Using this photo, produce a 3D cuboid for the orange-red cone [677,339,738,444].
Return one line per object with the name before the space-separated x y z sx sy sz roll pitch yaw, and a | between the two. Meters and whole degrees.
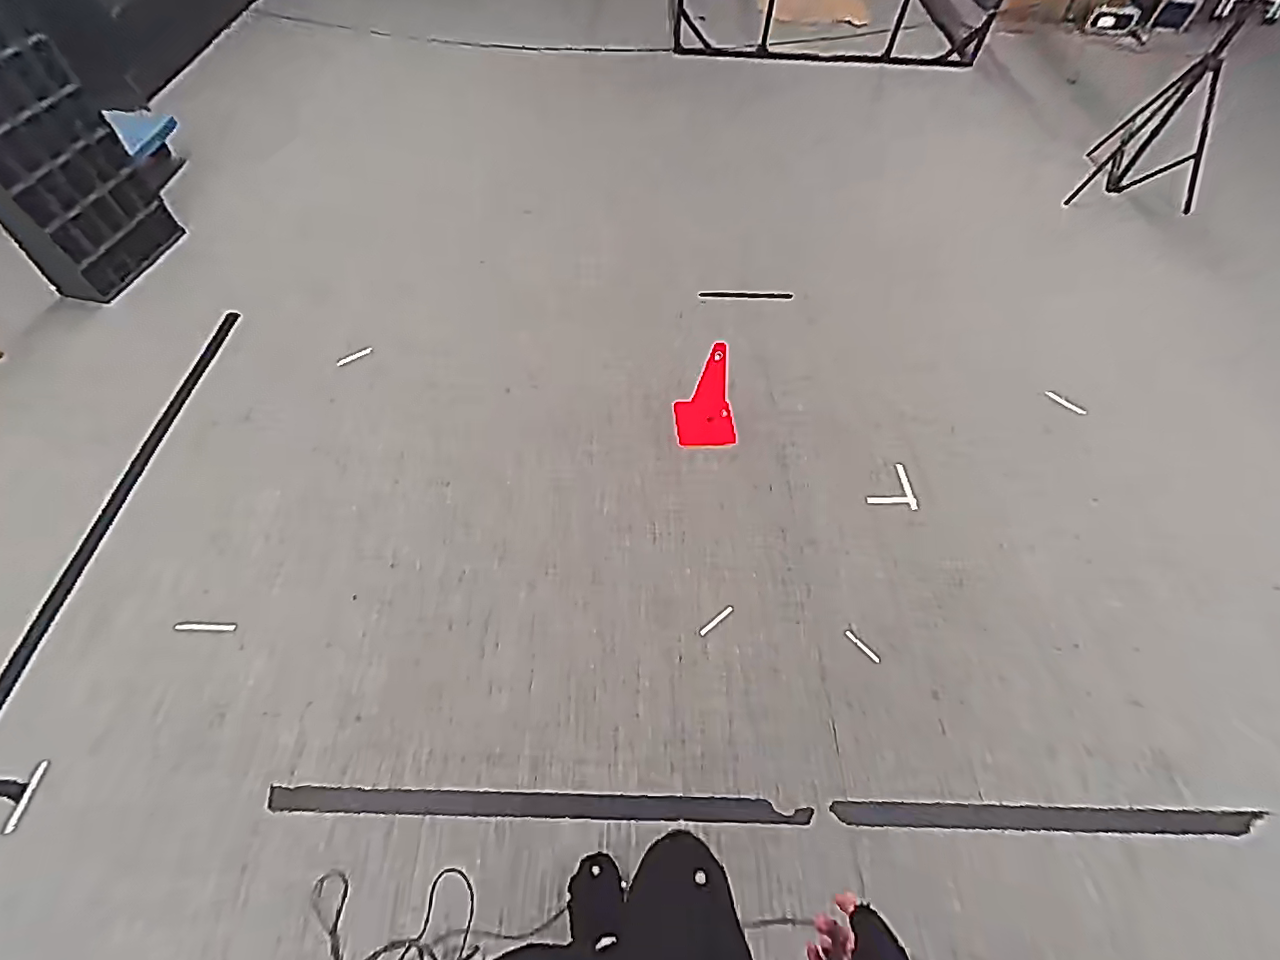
orange-red cone | 0.232 -0.298 1.713 0.199 0.360 0.198 -2 56 -2
